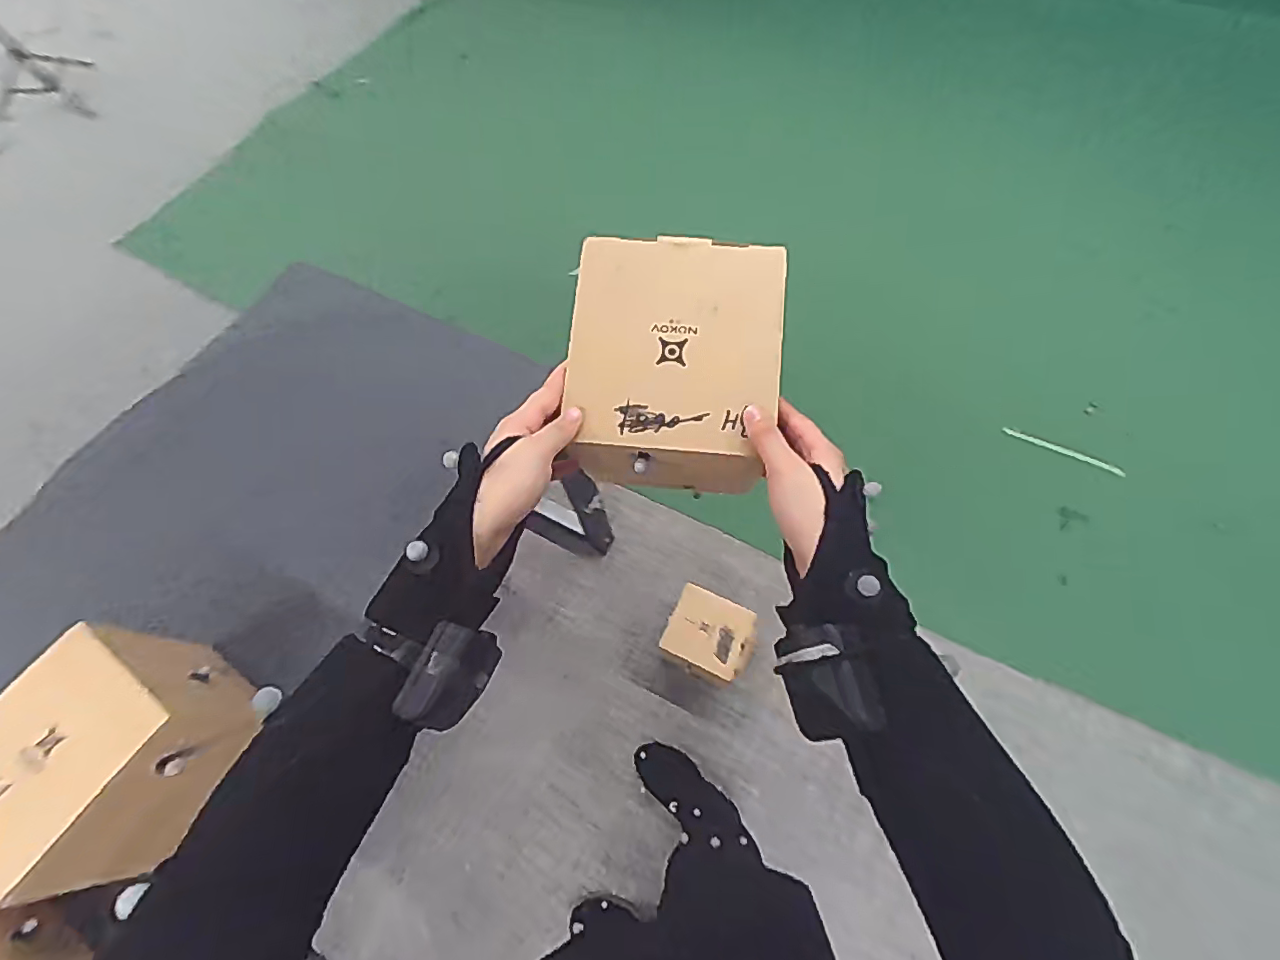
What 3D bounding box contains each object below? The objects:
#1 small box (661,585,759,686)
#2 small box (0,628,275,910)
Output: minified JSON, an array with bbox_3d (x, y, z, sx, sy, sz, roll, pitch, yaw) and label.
[{"bbox_3d":[0.164,0.376,1.286,0.179,0.176,0.168,22,68,15],"label":"small box"},{"bbox_3d":[-0.533,0.286,0.569,0.168,0.176,0.179,29,71,18],"label":"small box"}]
